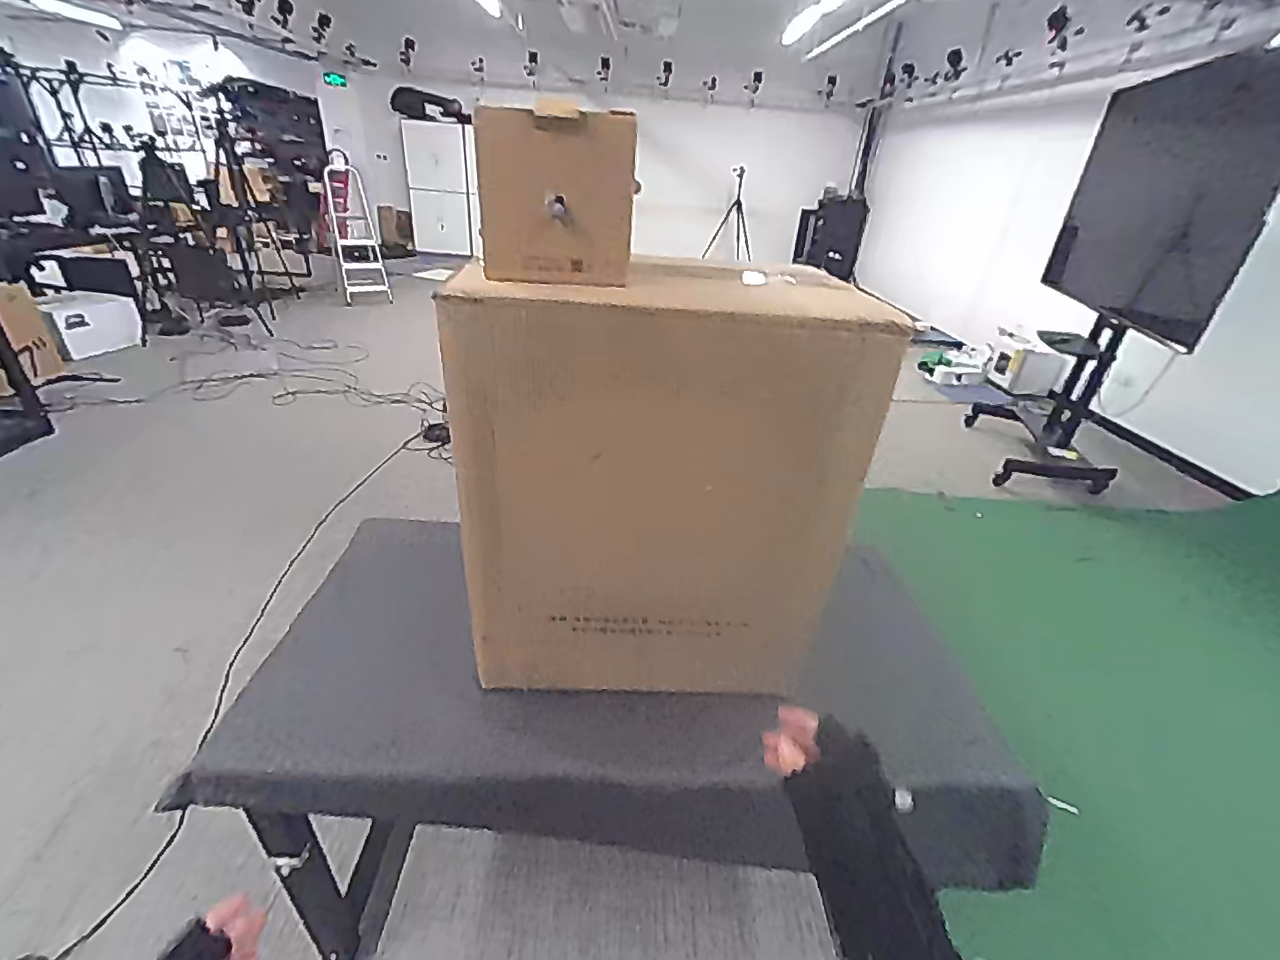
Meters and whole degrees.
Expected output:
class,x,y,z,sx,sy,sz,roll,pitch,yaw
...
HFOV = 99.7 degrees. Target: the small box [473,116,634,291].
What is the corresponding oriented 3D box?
class,x,y,z,sx,sy,sz,roll,pitch,yaw
small box,-0.094,-0.334,0.653,0.168,0.176,0.179,0,33,-5
